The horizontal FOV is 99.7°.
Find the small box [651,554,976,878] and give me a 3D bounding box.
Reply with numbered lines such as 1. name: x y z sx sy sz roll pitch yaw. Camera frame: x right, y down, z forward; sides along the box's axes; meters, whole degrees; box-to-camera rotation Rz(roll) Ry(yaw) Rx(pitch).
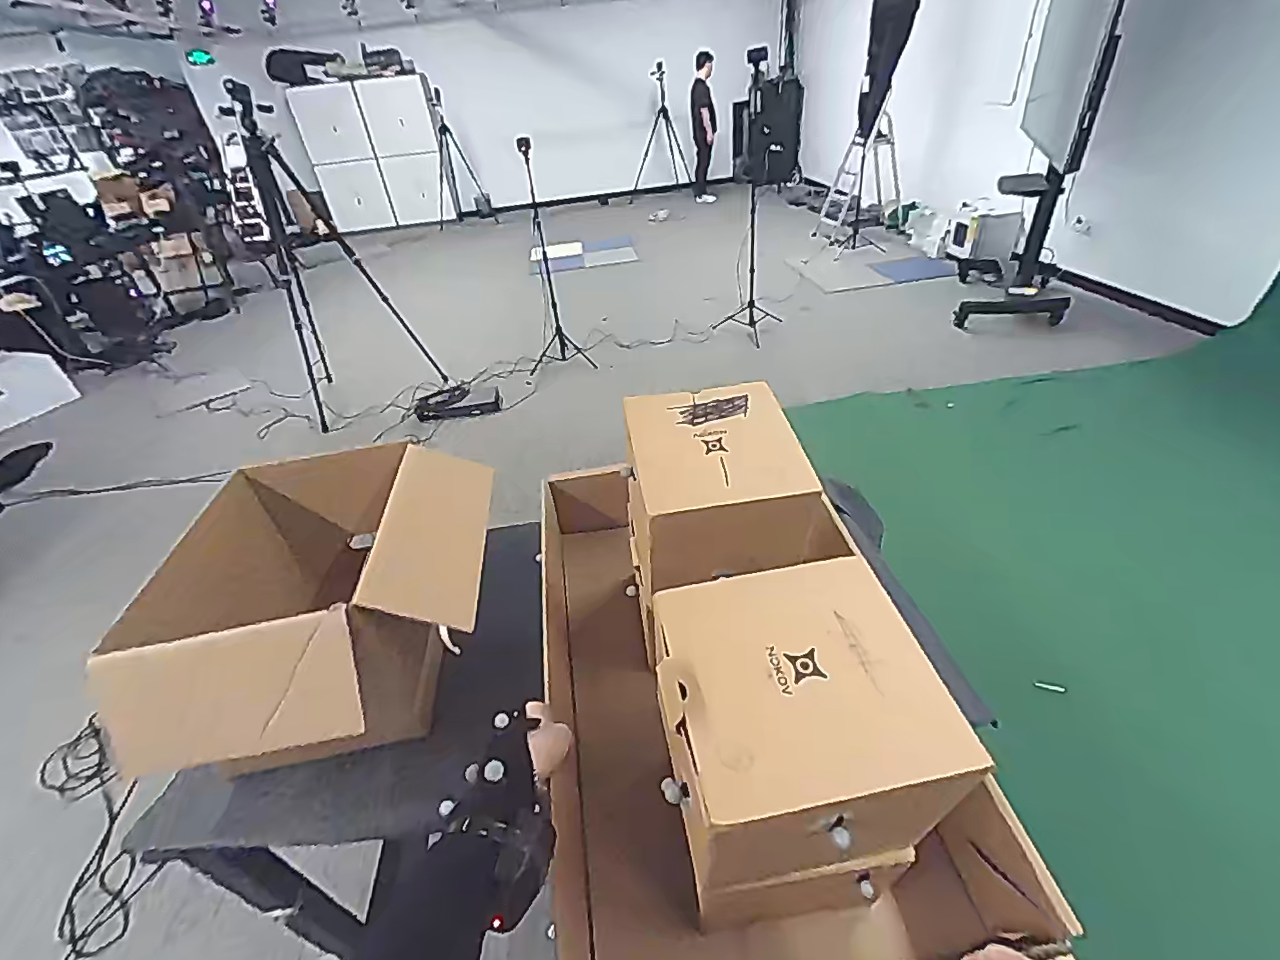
1. small box: 0.111 0.186 0.428 0.179 0.176 0.168 -9 43 -6

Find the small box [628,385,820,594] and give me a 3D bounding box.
1. small box: 0.078 0.017 0.607 0.168 0.176 0.179 -8 46 -4
